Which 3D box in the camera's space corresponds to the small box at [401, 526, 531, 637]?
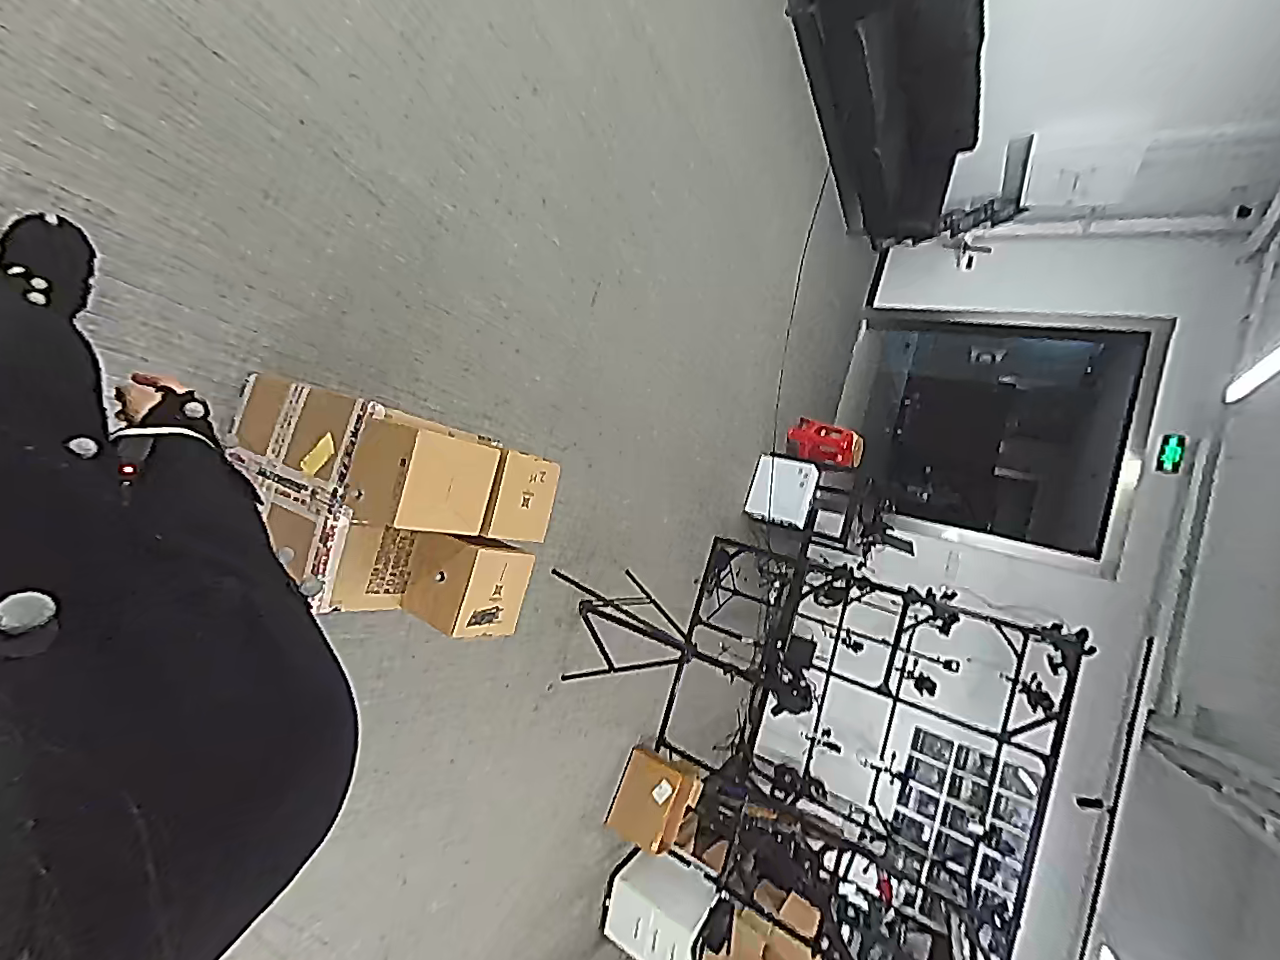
[{"bbox_3d":[-0.362,0.208,1.117,0.168,0.176,0.179,21,85,-58],"label":"small box"}]
